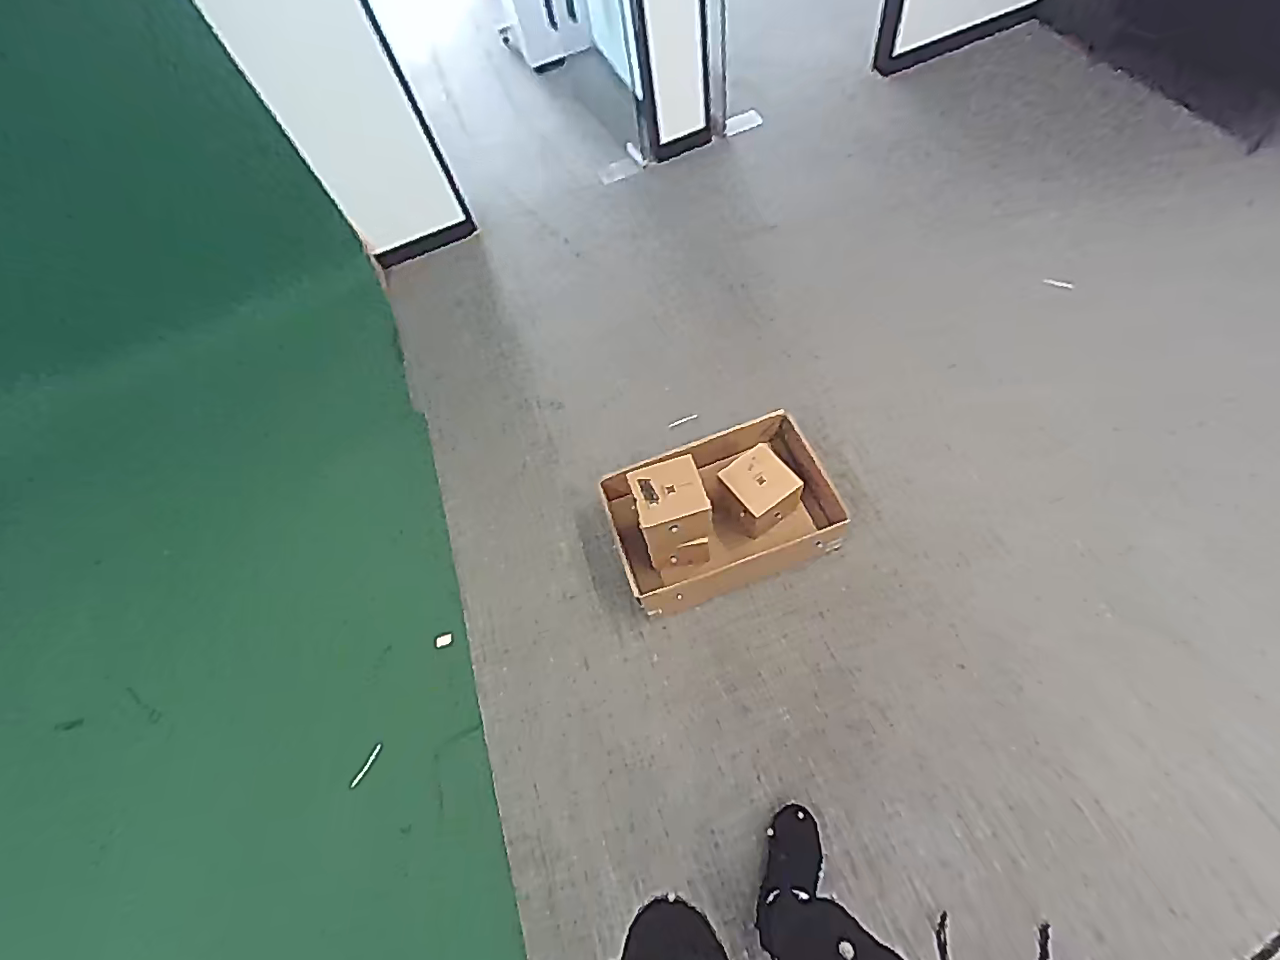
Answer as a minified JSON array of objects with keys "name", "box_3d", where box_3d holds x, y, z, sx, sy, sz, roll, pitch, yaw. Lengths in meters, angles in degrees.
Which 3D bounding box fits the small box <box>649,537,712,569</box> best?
[{"name":"small box","box_3d":[0.111,0.144,1.541,0.168,0.176,0.179,-10,59,4]}]

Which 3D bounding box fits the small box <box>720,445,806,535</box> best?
[{"name":"small box","box_3d":[0.350,0.038,1.554,0.168,0.176,0.179,-34,61,-8]}]

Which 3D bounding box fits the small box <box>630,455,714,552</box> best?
[{"name":"small box","box_3d":[0.086,0.067,1.399,0.179,0.176,0.168,-16,60,-1]}]
